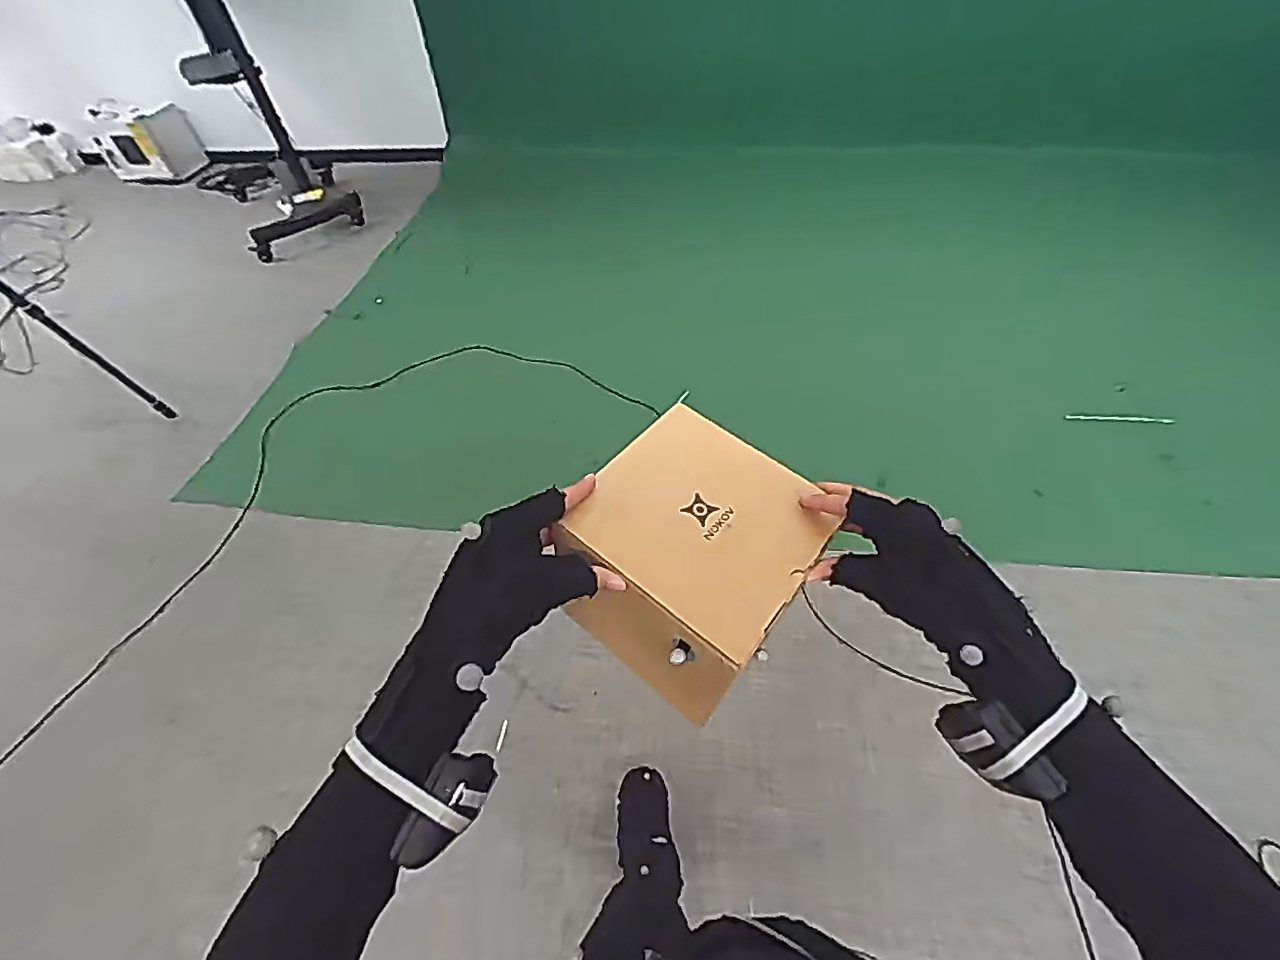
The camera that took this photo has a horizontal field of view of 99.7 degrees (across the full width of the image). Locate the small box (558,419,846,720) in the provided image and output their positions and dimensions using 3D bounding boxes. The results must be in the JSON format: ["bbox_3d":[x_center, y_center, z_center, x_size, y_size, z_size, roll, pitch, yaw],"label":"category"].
[{"bbox_3d":[0.045,0.084,0.490,0.179,0.176,0.168,35,58,20],"label":"small box"}]
